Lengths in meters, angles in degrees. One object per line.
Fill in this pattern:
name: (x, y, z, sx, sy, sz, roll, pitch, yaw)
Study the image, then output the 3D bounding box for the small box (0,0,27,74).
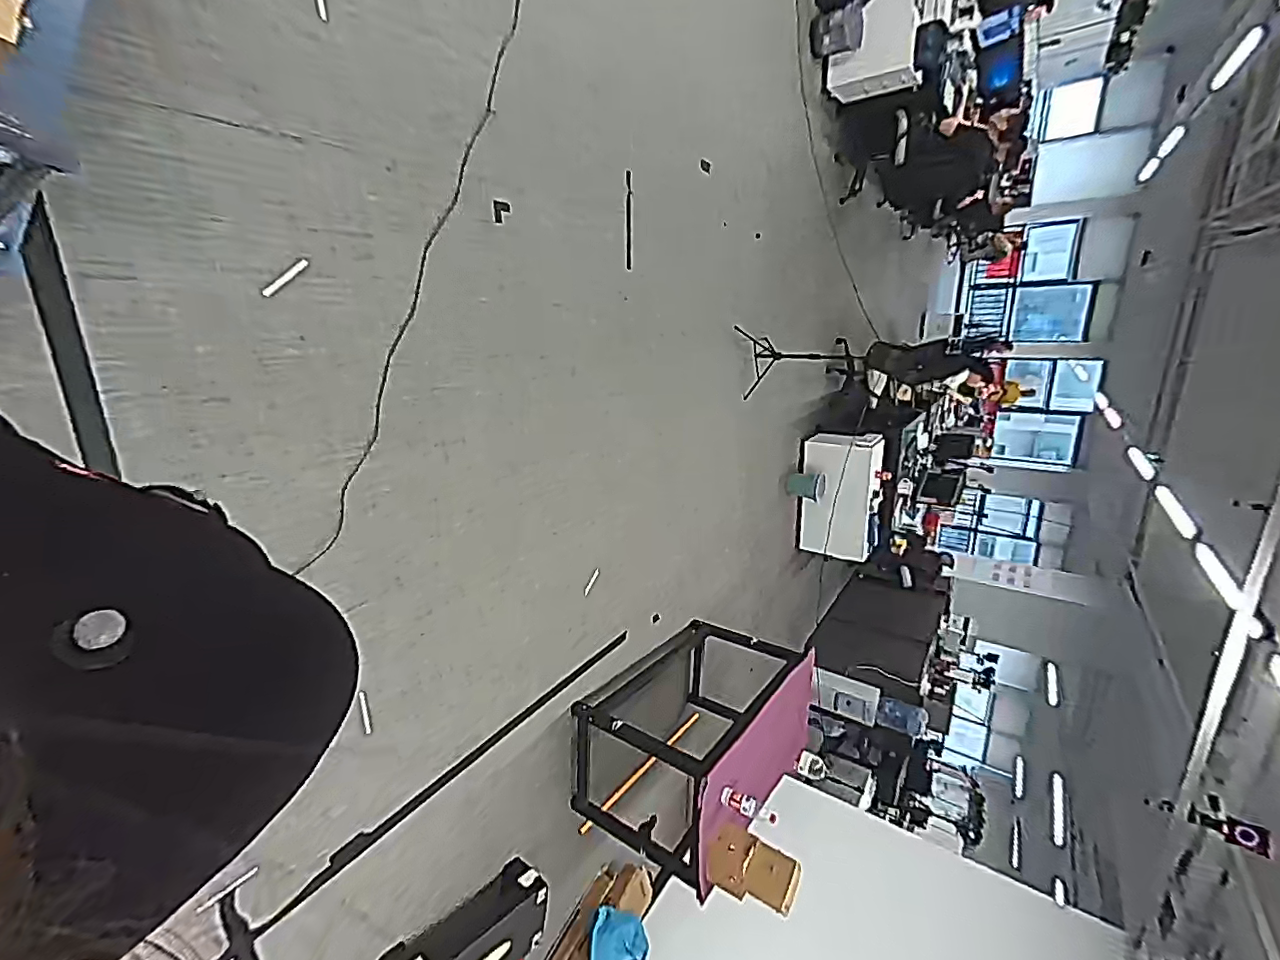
small box: (-0.943, -0.684, 0.709, 0.179, 0.176, 0.168, 12, 88, -56)
